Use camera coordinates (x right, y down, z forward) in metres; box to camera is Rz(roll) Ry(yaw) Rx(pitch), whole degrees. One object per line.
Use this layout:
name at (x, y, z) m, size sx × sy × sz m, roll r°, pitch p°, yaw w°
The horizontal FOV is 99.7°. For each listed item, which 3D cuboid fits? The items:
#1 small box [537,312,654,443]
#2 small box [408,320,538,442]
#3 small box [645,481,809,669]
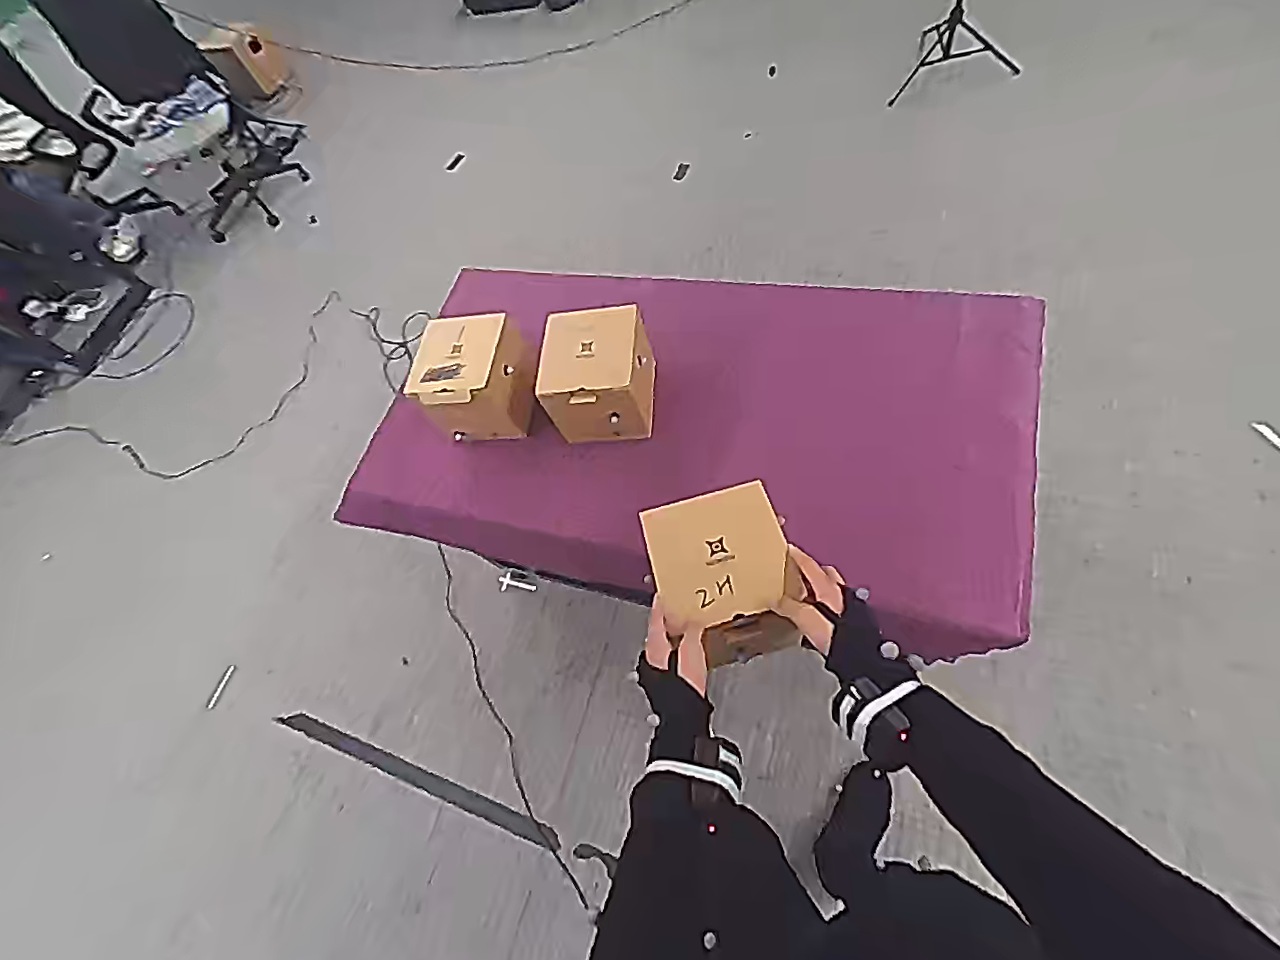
small box at (-0.071, -0.177, 0.991) m, size 0.168 × 0.176 × 0.179 m, roll -2°, pitch 64°, yaw 13°
small box at (-0.314, -0.183, 1.056) m, size 0.168 × 0.176 × 0.179 m, roll -1°, pitch 64°, yaw 14°
small box at (0.111, 0.132, 0.728) m, size 0.168 × 0.176 × 0.179 m, roll -15°, pitch 55°, yaw 2°
